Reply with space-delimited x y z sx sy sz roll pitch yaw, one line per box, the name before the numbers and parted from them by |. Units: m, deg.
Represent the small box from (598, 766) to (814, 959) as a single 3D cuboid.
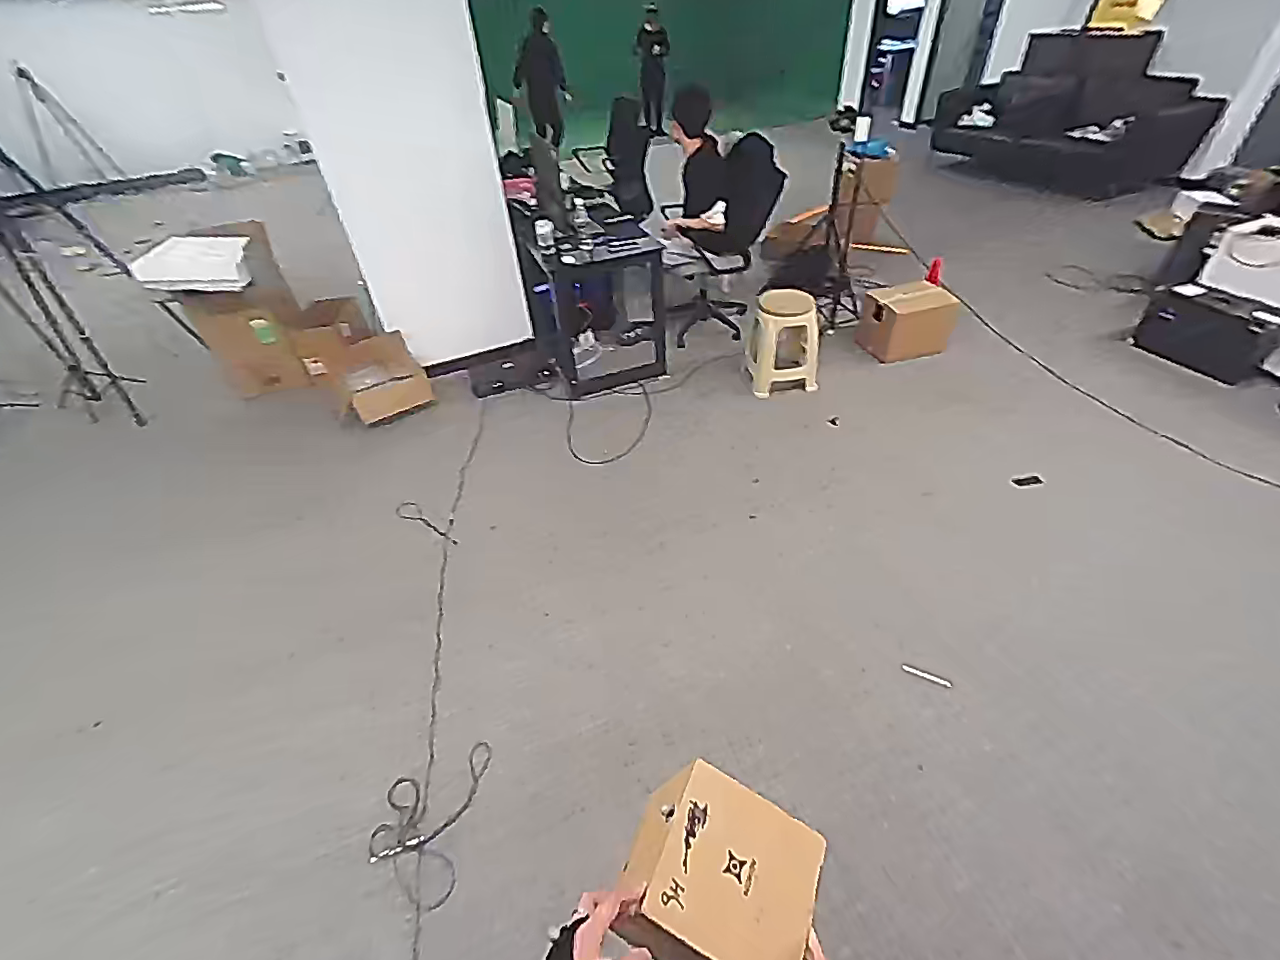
small box | 0.075 0.484 0.648 0.179 0.176 0.168 31 46 5
